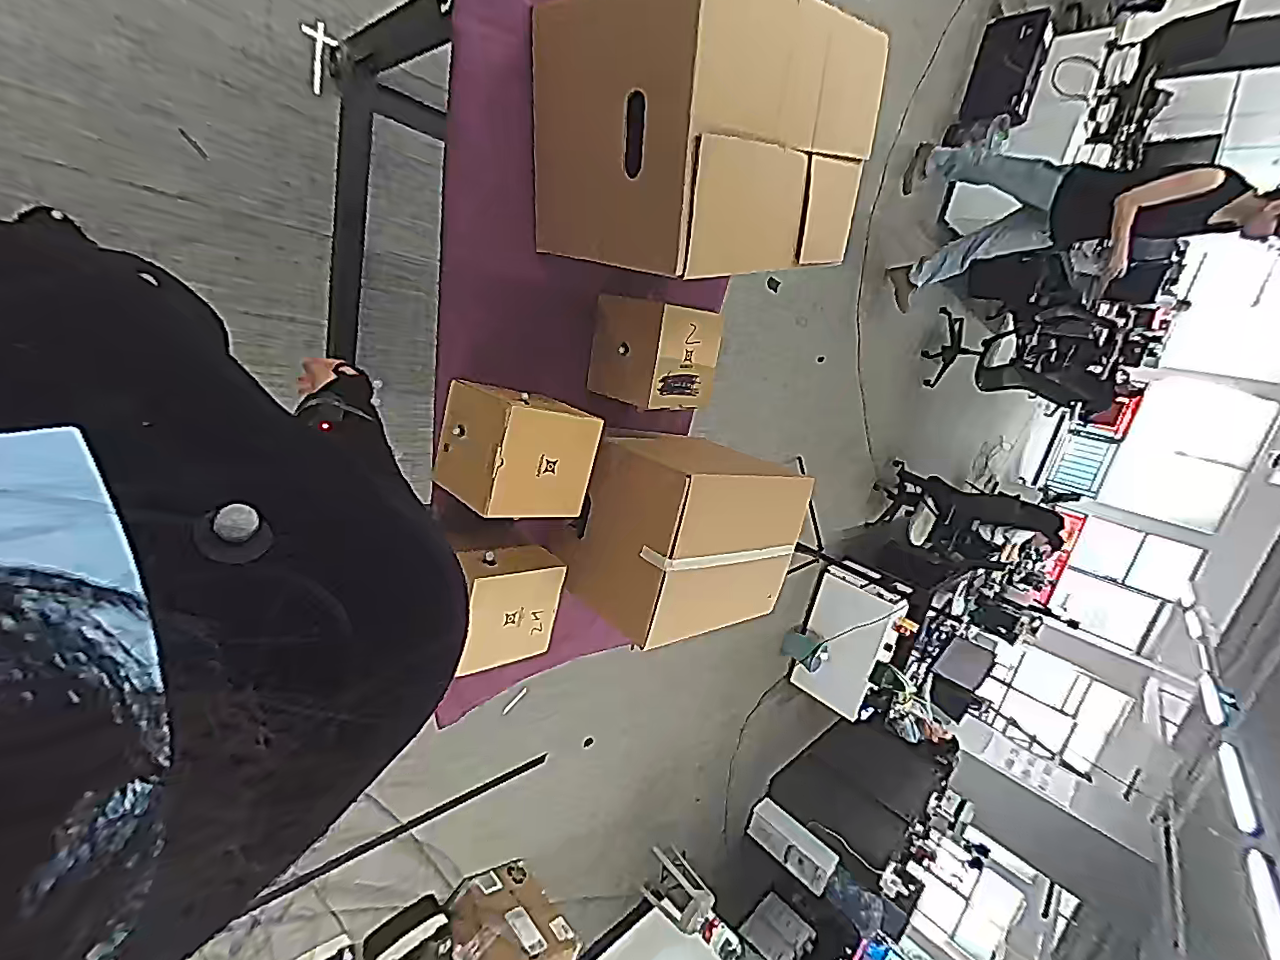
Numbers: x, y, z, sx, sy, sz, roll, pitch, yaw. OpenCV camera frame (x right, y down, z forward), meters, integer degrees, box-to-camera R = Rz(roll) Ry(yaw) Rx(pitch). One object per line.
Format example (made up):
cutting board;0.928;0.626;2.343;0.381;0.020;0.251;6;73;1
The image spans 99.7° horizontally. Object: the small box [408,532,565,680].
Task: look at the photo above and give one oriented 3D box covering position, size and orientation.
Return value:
small box;-0.257;0.194;0.892;0.179;0.176;0.168;1;109;-49
